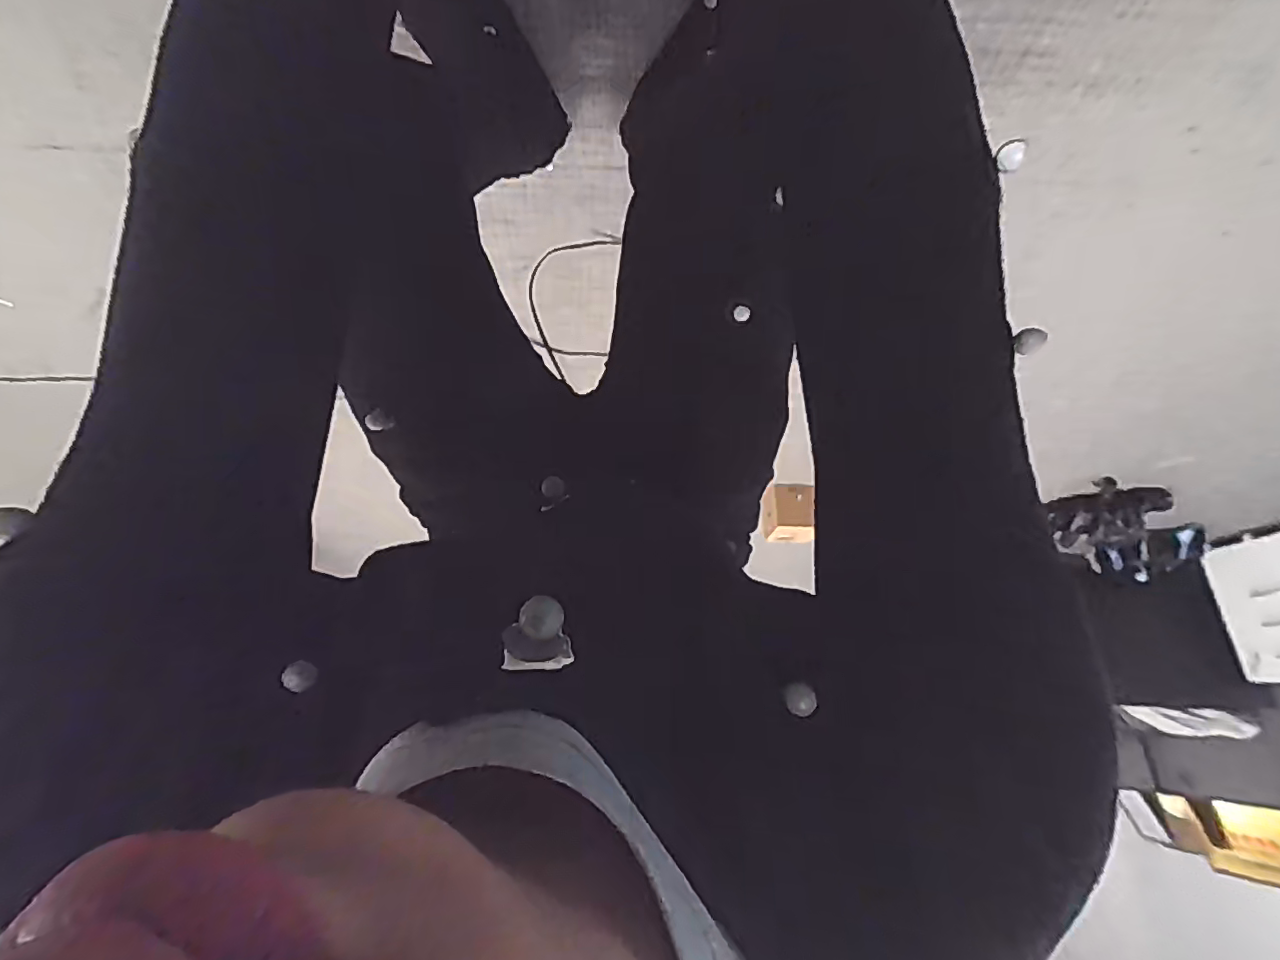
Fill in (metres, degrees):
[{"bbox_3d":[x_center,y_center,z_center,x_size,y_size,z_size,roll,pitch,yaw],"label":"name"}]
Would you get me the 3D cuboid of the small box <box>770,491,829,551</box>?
[{"bbox_3d":[0.582,0.154,1.994,0.168,0.176,0.179,2,155,-1],"label":"small box"}]
